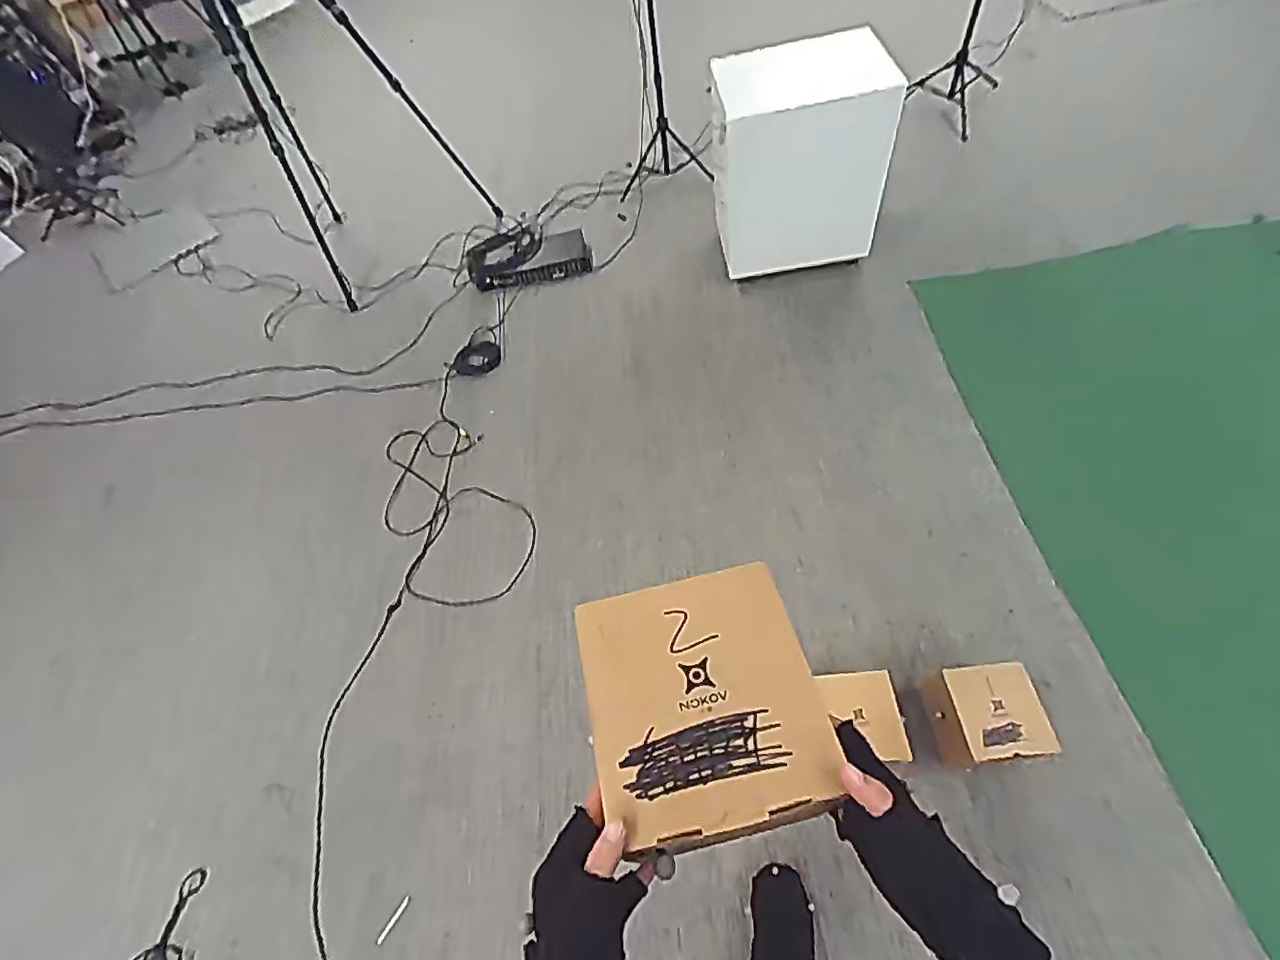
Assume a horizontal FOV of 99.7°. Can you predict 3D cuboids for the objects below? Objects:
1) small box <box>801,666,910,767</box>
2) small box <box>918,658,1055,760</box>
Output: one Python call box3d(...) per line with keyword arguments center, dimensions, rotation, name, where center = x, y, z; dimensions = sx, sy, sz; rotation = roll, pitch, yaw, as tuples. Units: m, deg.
box3d(center=(0.457, 0.519, 1.182), dimensions=(0.168, 0.176, 0.179), rotation=(-7, 59, 5), name="small box")
box3d(center=(0.724, 0.494, 1.153), dimensions=(0.168, 0.176, 0.179), rotation=(-8, 58, 5), name="small box")
